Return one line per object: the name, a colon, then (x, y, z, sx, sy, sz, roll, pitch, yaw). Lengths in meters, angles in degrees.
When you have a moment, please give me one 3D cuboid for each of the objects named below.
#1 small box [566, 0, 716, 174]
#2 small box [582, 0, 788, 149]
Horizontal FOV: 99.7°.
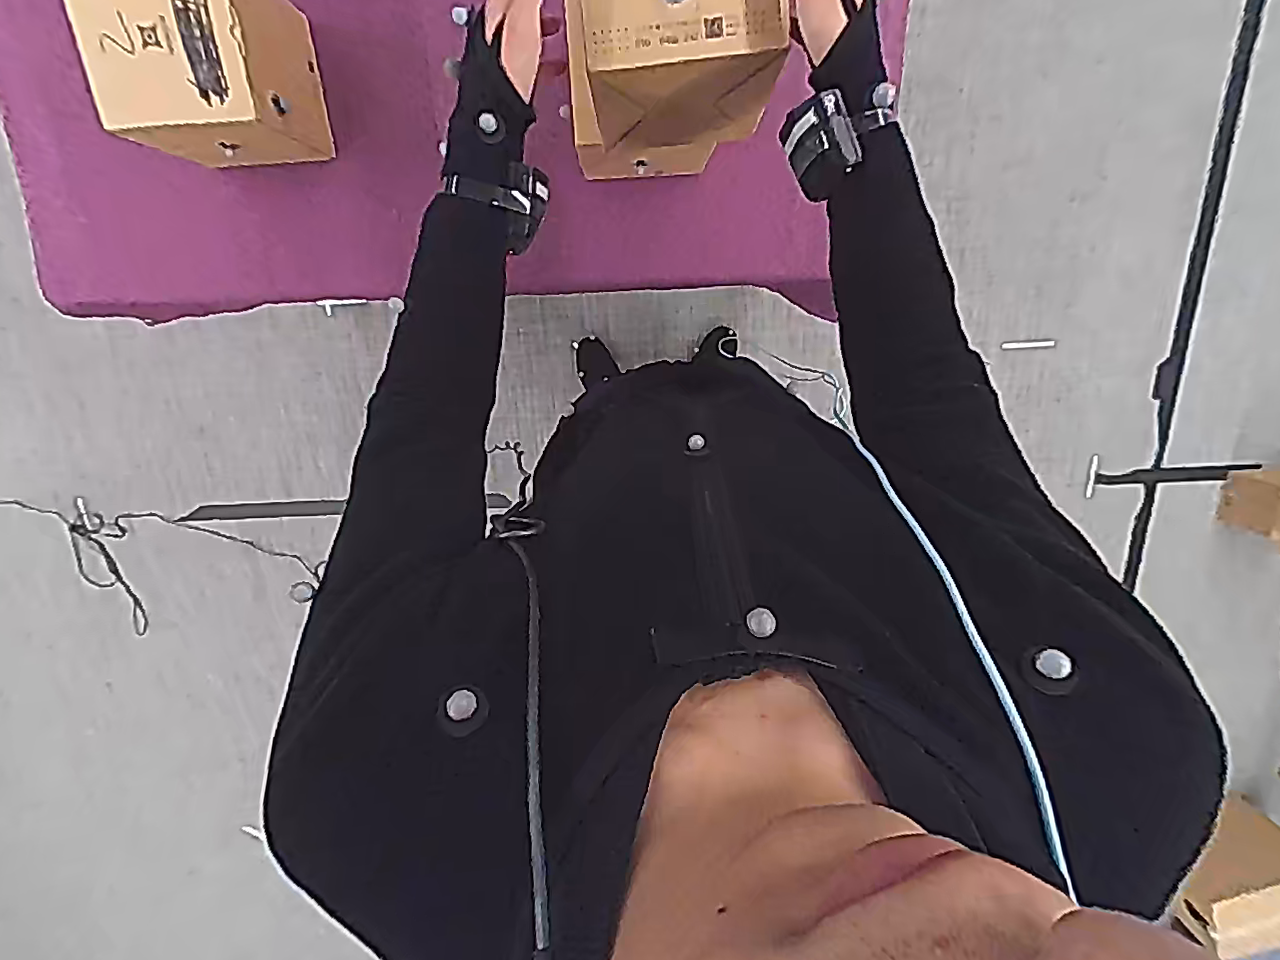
small box: (0.003, -0.491, 0.667, 0.168, 0.176, 0.179, -3, 107, -1)
small box: (0.033, -0.433, 0.501, 0.168, 0.179, 0.176, -6, 103, 2)
